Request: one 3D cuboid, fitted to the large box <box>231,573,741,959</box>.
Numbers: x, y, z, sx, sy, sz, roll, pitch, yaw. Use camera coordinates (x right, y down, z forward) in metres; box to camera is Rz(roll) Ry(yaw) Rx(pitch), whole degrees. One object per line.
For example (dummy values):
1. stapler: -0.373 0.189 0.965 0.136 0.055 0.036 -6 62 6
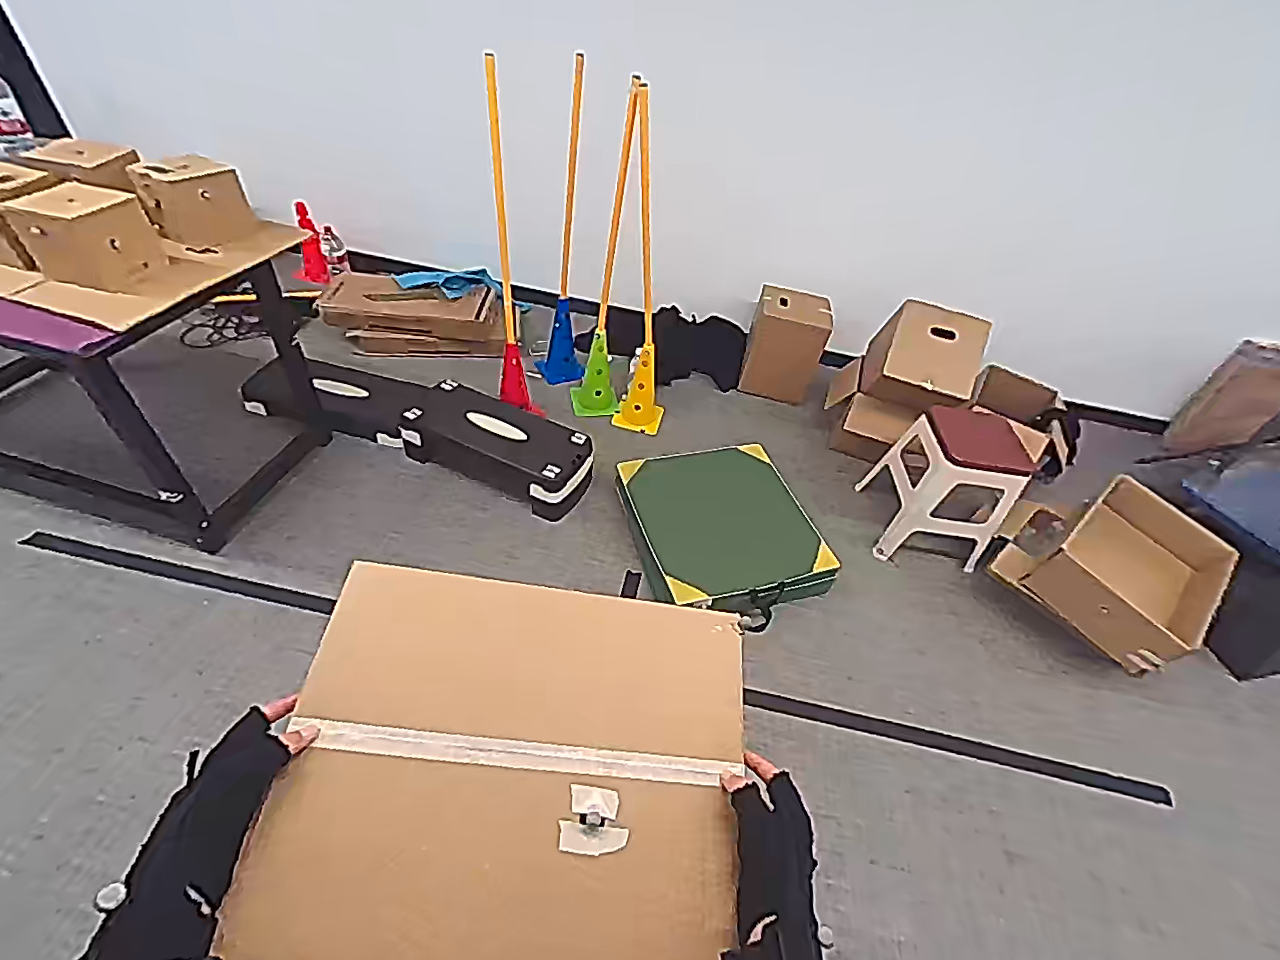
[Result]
1. large box: -0.128 0.330 0.625 0.408 0.320 0.320 10 58 -6
